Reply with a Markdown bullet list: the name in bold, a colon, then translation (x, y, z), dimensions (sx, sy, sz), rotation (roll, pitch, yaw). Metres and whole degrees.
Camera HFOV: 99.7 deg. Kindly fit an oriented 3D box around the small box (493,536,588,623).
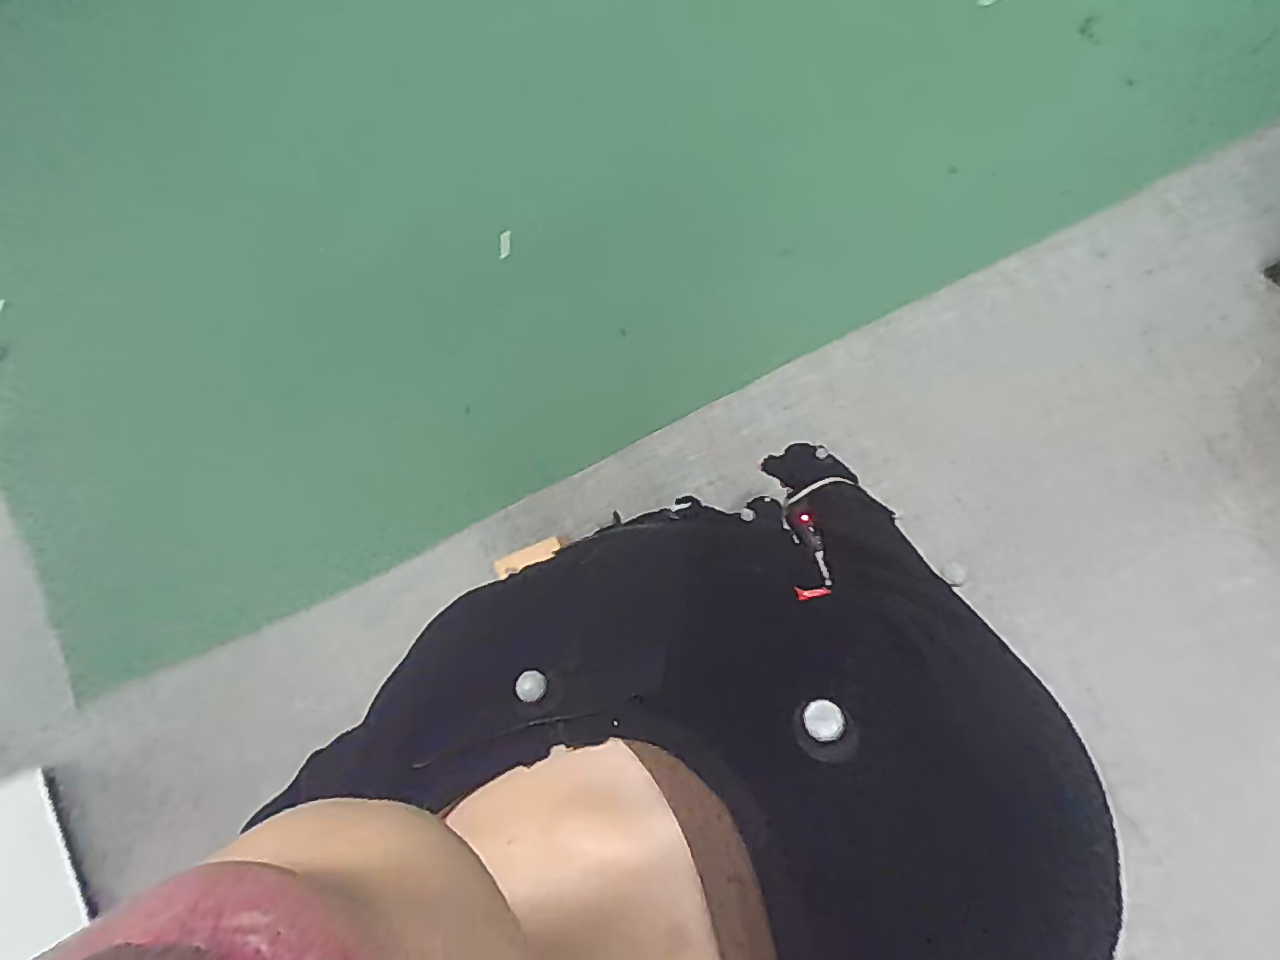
- **small box**: translation (-0.254, 0.256, 1.419), dimensions (0.179, 0.176, 0.168), rotation (-23, 85, 2)
